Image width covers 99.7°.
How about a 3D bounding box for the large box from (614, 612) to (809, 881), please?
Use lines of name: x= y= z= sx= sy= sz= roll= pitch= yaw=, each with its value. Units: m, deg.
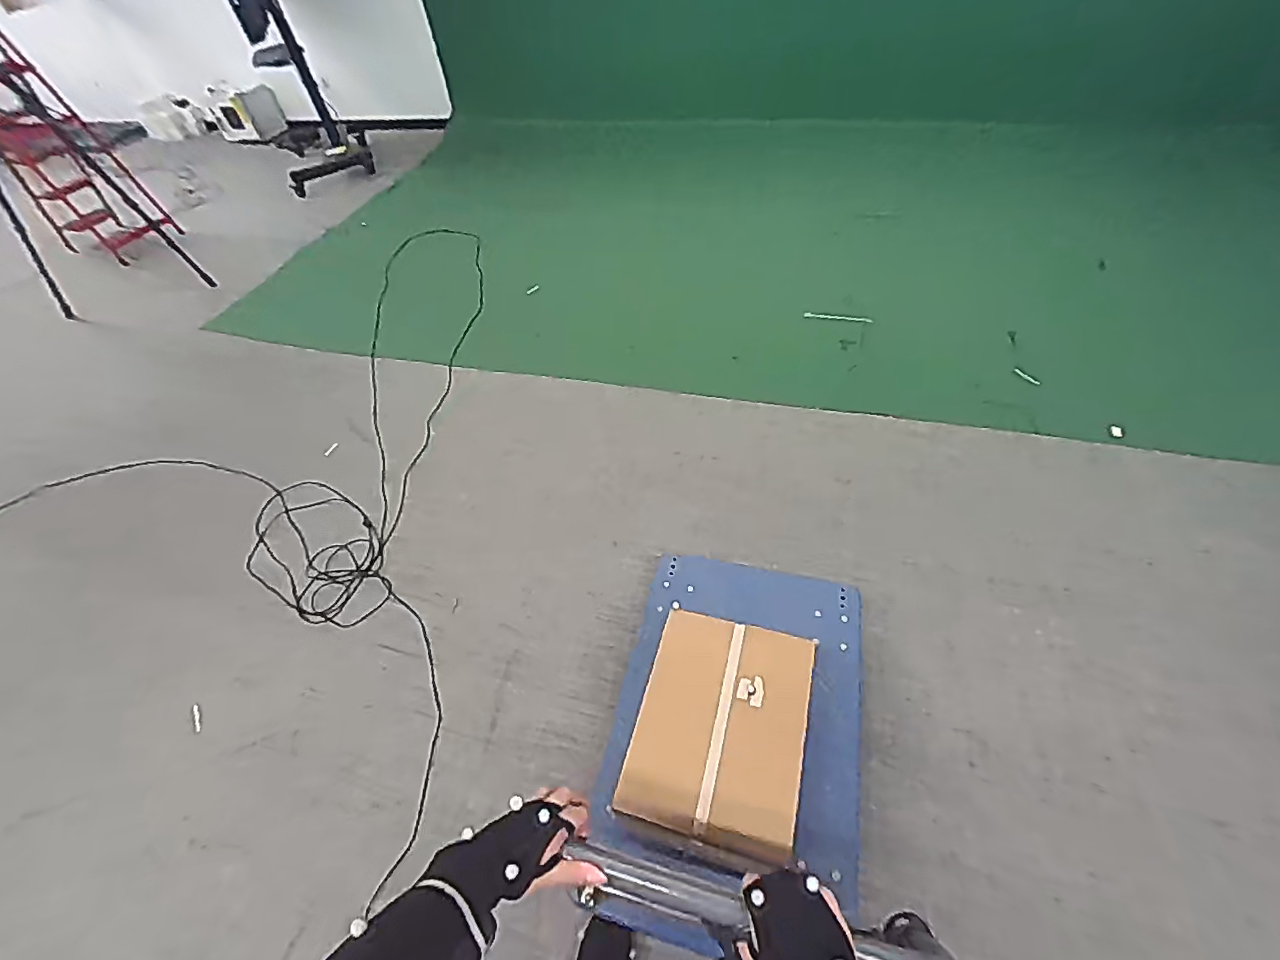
large box: x=0.165 y=0.560 z=1.154 sx=0.320 sy=0.320 sz=0.408 roll=11 pitch=52 yaw=15
